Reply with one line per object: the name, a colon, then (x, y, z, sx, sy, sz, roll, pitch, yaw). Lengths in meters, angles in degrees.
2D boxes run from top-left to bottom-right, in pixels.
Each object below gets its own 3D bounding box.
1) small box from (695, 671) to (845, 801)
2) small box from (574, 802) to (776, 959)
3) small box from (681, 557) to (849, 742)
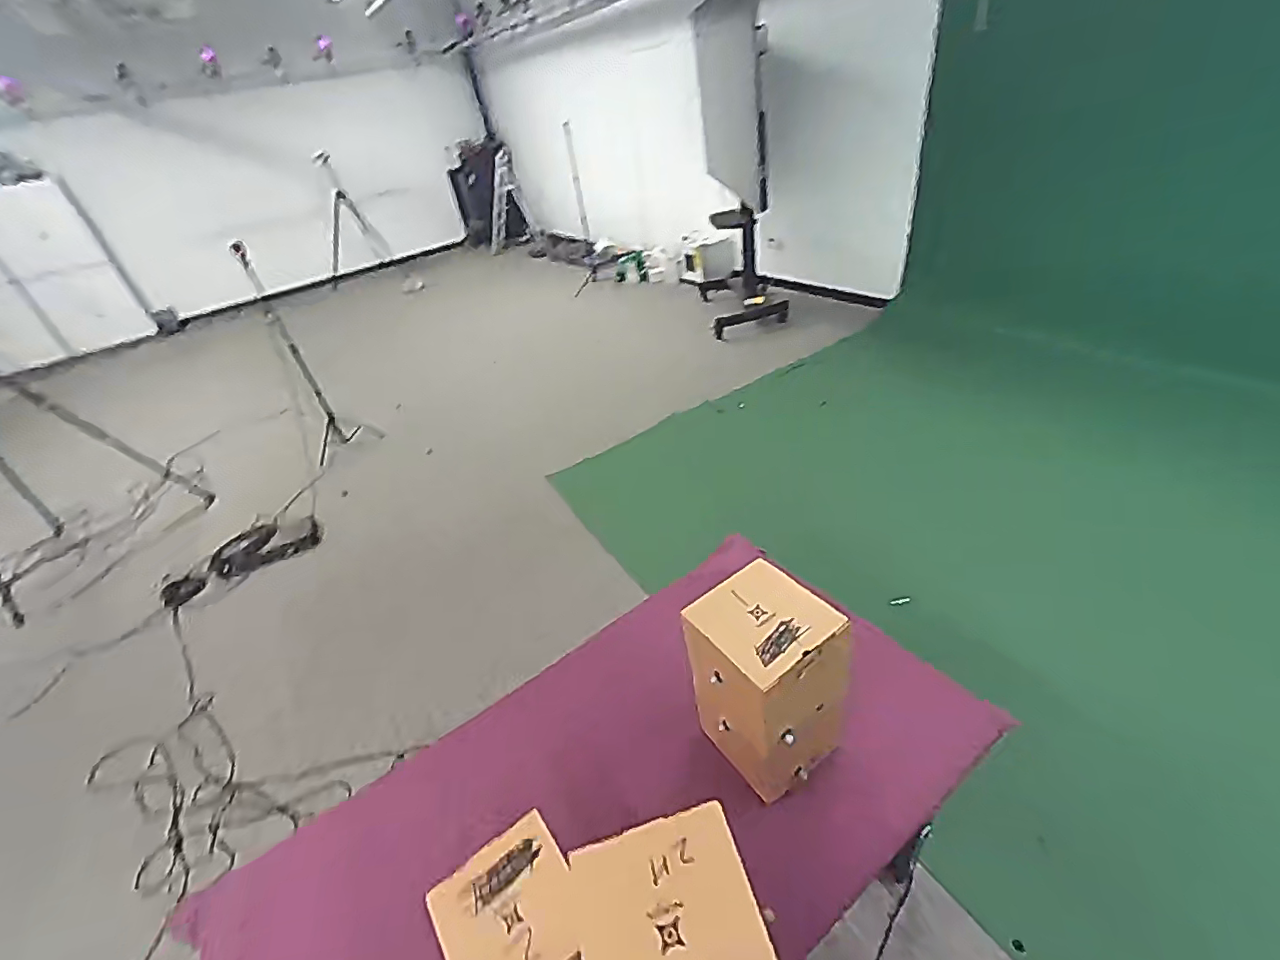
small box: (0.214, 0.385, 0.902, 0.168, 0.176, 0.179, -28, 38, -20)
small box: (0.042, 0.466, 0.531, 0.168, 0.176, 0.179, -15, 34, -6)
small box: (0.187, 0.255, 0.805, 0.168, 0.176, 0.179, -29, 37, -21)
